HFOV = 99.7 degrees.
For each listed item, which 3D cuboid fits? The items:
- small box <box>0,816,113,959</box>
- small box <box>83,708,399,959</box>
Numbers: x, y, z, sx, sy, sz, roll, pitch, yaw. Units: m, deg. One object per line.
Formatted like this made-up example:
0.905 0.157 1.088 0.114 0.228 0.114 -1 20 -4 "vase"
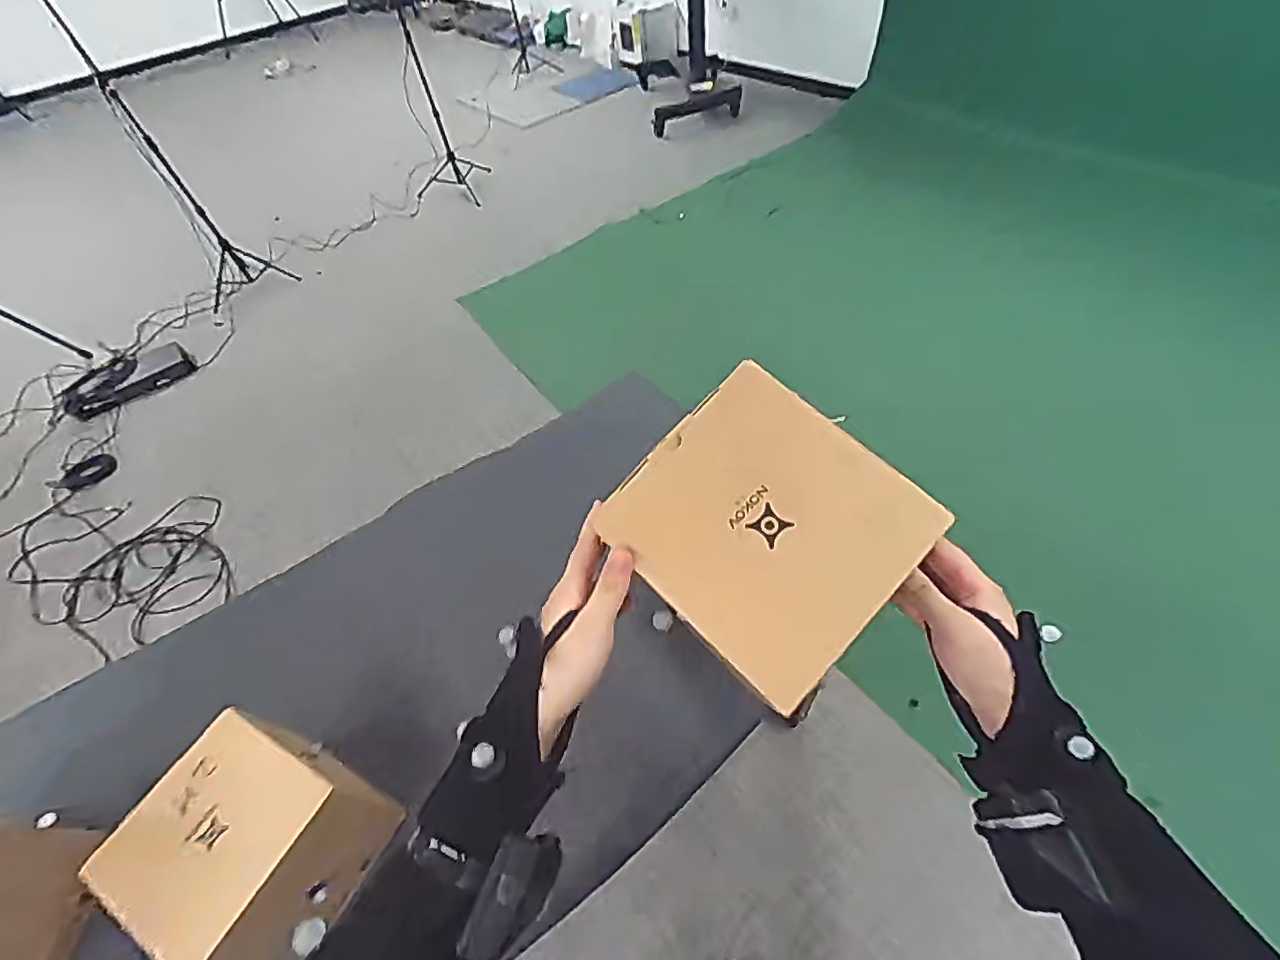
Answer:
-0.720 0.450 0.563 0.179 0.176 0.168 -1 53 6 "small box"
-0.399 0.379 0.576 0.179 0.176 0.168 20 56 21 "small box"
